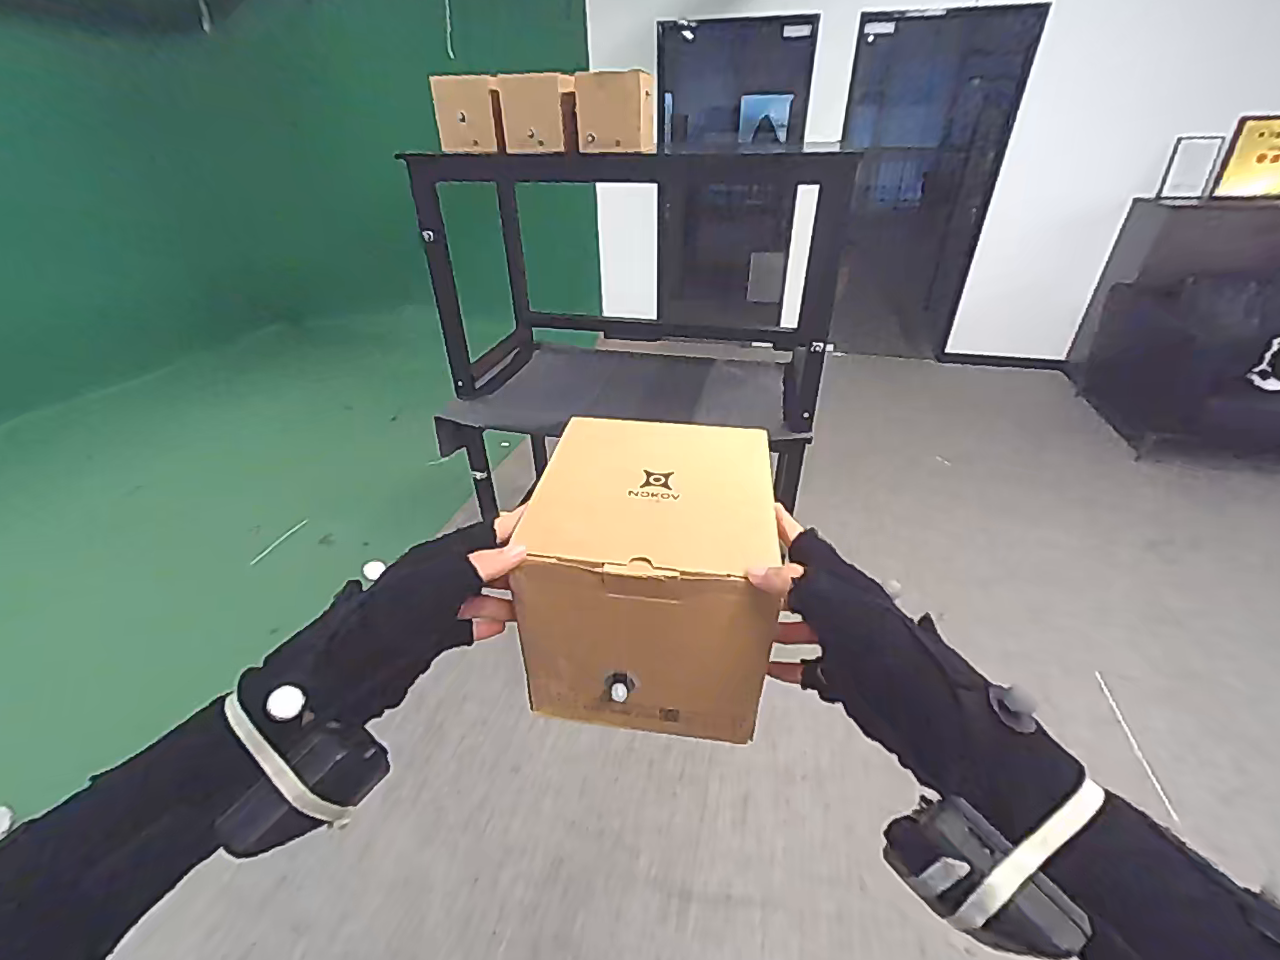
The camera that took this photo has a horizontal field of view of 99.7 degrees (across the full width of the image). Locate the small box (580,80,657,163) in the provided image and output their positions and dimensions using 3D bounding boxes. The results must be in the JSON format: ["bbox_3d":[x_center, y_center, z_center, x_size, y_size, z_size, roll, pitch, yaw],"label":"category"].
[{"bbox_3d":[-0.048,-0.926,1.407,0.168,0.176,0.179,6,33,10],"label":"small box"}]

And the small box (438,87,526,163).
[{"bbox_3d":[-0.429,-0.985,1.506,0.168,0.176,0.179,8,34,11],"label":"small box"}]

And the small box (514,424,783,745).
[{"bbox_3d":[0.013,0.074,0.430,0.168,0.176,0.179,4,34,6],"label":"small box"}]
